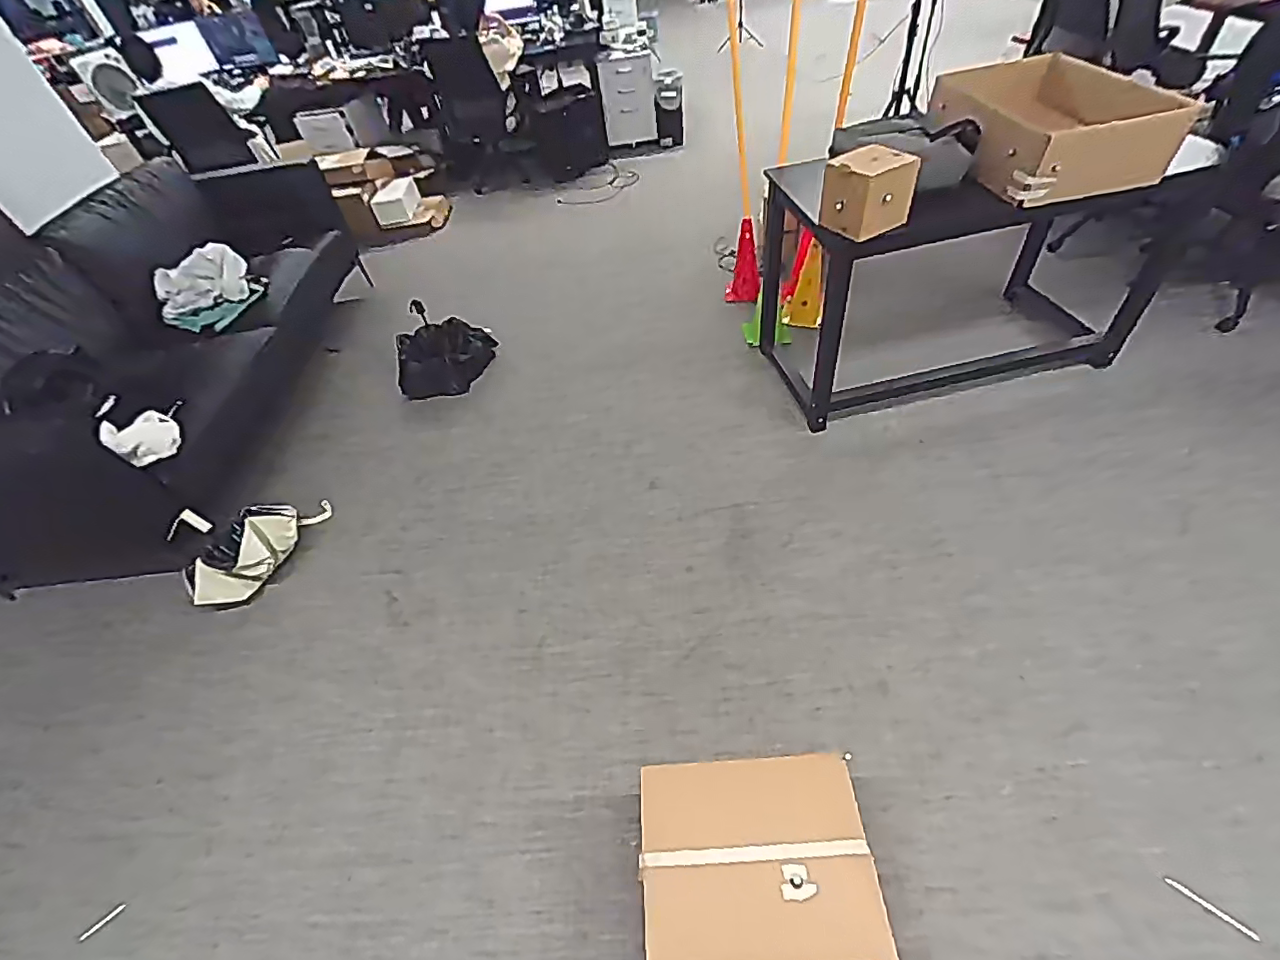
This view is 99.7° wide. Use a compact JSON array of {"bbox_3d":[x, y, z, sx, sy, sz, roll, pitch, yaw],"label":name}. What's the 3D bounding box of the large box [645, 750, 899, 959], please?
[{"bbox_3d":[0.231,0.767,1.079,0.408,0.320,0.320,-7,48,4],"label":"large box"}]
